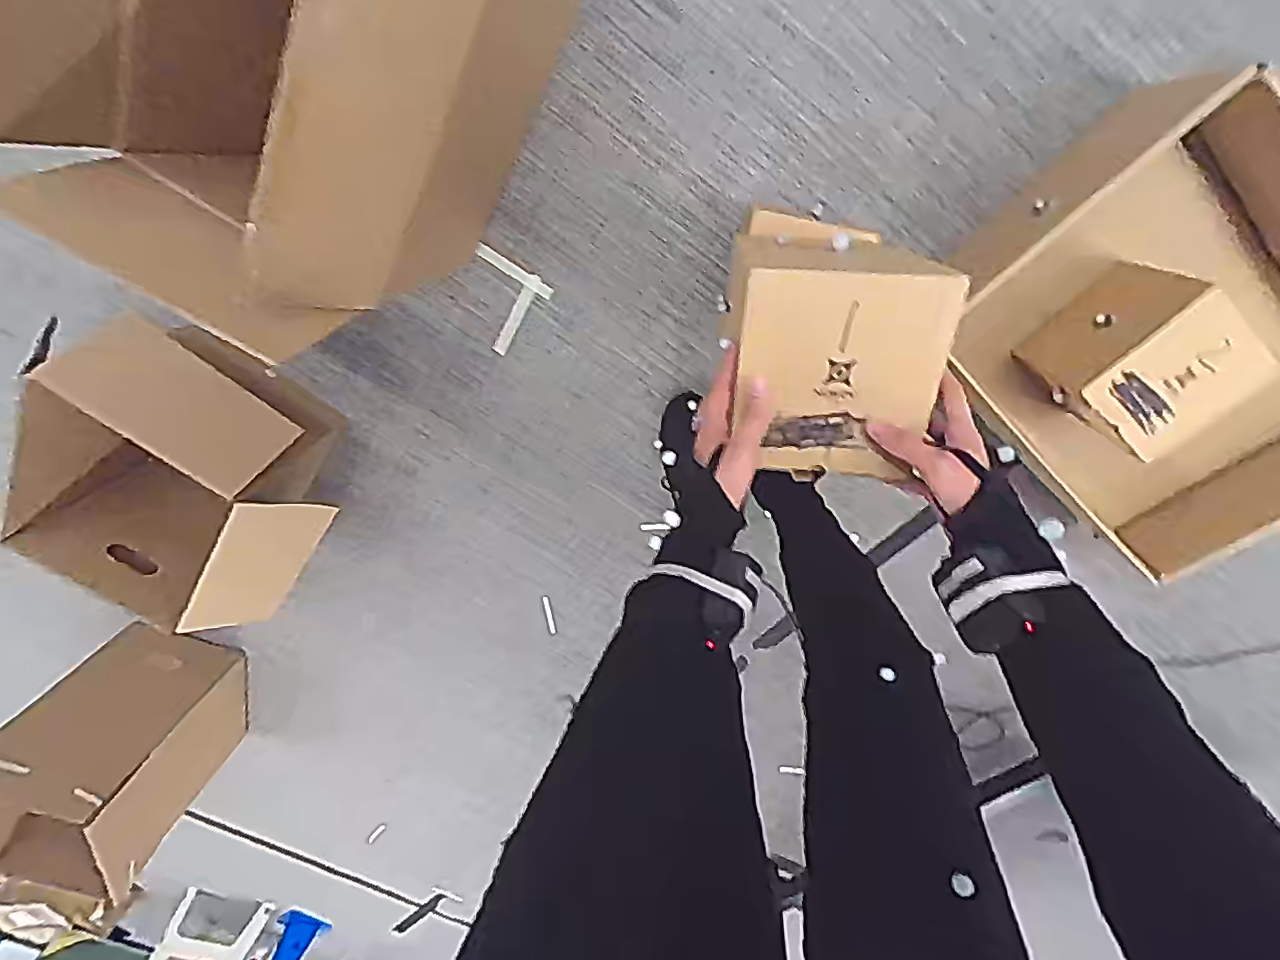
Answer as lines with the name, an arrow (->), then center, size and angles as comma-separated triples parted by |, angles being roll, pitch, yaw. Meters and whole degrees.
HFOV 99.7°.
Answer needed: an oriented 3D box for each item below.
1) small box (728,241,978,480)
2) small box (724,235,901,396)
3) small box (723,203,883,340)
small box -> 0.174, -0.120, 0.512 | 0.168, 0.176, 0.179 | 4, 119, 5
small box -> 0.198, -0.198, 0.657 | 0.179, 0.176, 0.168 | 4, 120, 4
small box -> 0.223, -0.291, 0.791 | 0.168, 0.176, 0.179 | 12, 120, 0
